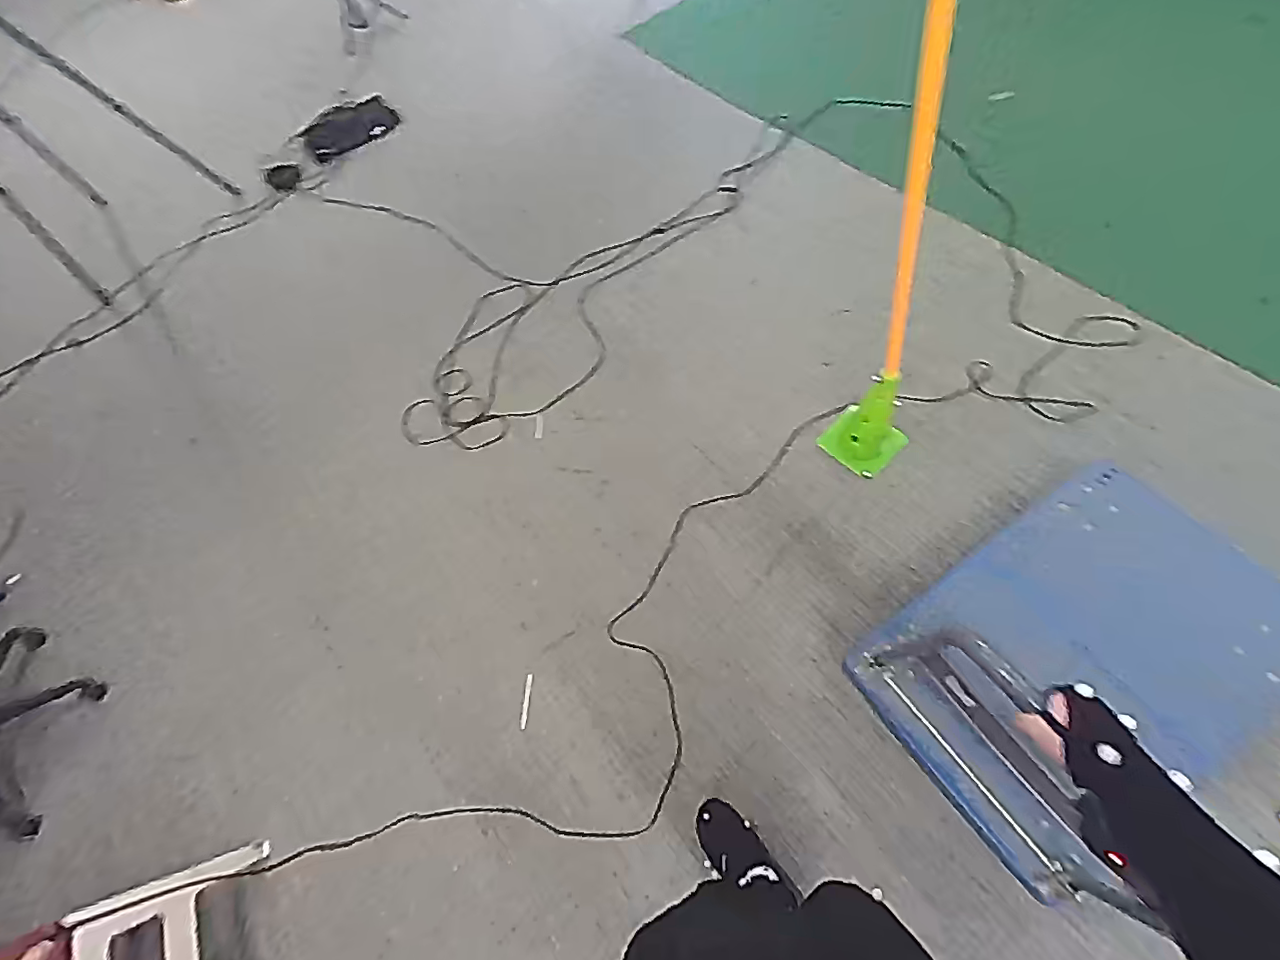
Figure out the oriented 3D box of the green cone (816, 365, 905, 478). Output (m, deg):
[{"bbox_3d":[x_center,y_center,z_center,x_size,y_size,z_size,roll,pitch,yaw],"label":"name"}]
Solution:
[{"bbox_3d":[0.649,-0.196,1.516,0.200,0.368,0.202,-43,64,-12],"label":"green cone"}]
